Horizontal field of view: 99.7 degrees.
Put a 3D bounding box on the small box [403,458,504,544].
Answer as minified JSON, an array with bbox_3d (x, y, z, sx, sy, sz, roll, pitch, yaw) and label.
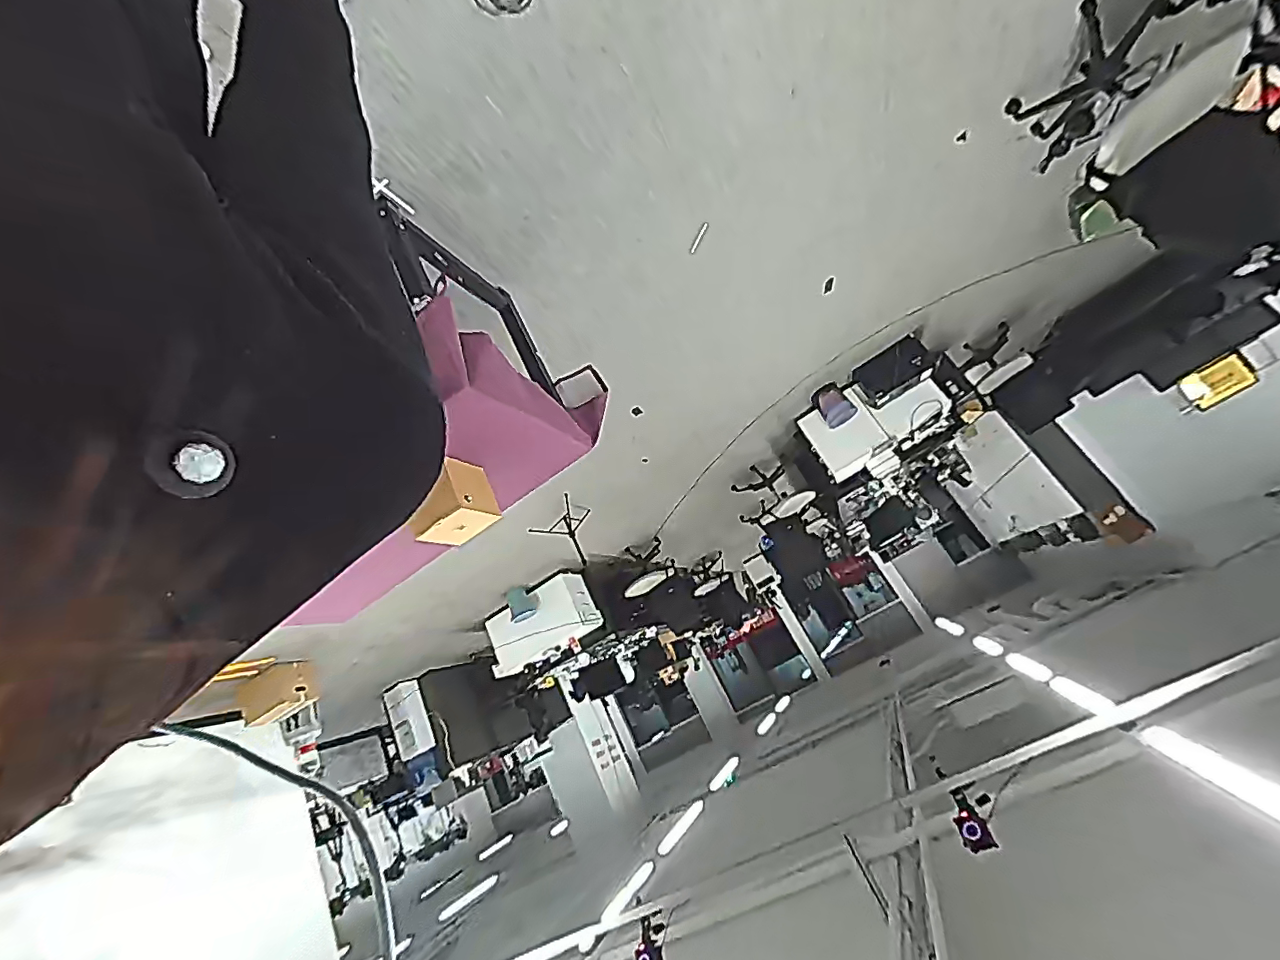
[{"bbox_3d":[-0.513,0.058,1.485,0.168,0.176,0.179,-34,158,14],"label":"small box"}]
